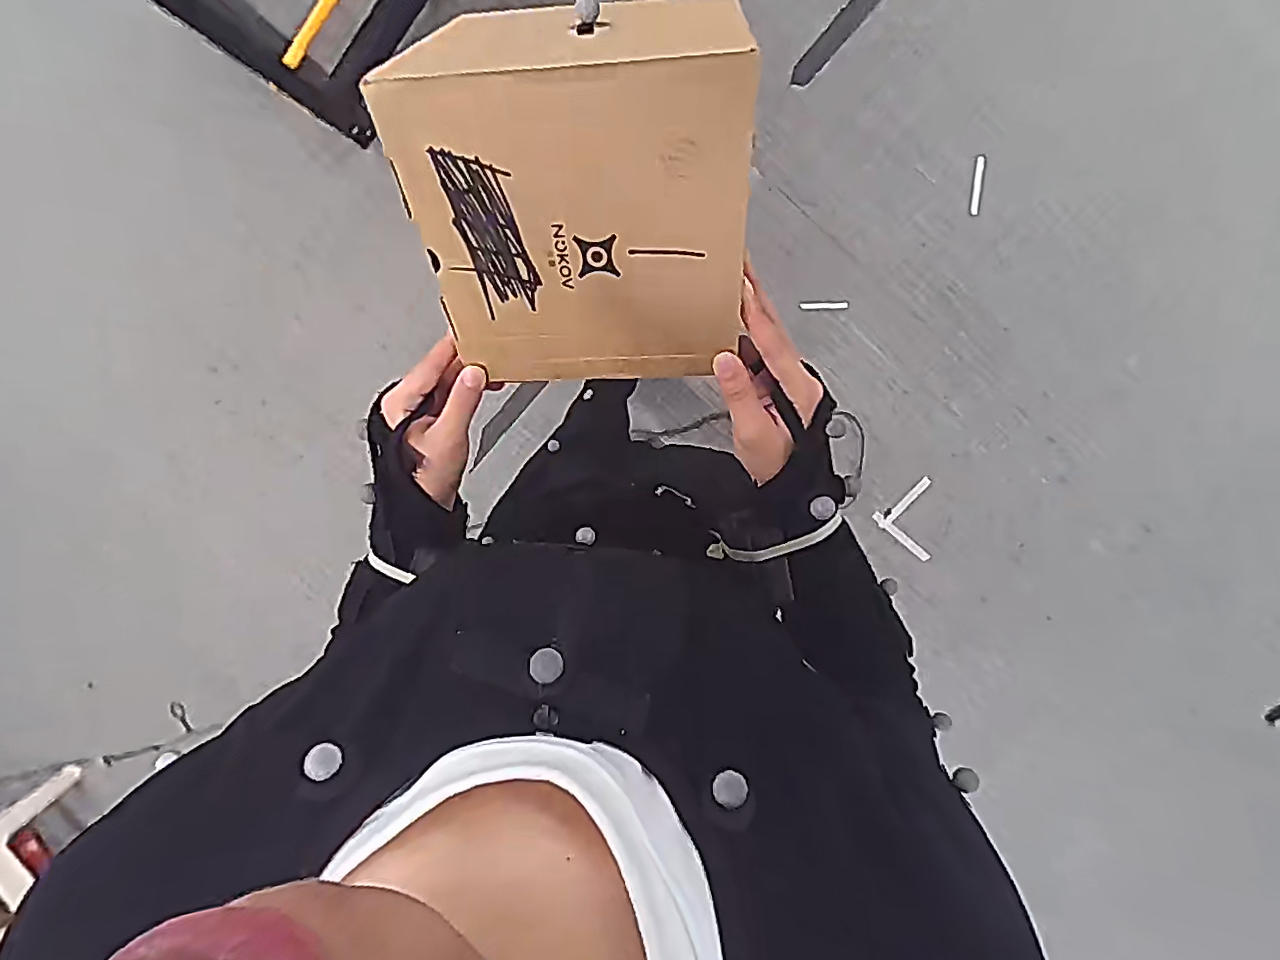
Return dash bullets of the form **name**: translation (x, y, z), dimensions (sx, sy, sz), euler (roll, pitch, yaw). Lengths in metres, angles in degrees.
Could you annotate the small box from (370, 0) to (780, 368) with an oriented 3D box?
- **small box**: translation (-0.022, -0.186, 0.334), dimensions (0.179, 0.176, 0.168), euler (0, 138, 4)
